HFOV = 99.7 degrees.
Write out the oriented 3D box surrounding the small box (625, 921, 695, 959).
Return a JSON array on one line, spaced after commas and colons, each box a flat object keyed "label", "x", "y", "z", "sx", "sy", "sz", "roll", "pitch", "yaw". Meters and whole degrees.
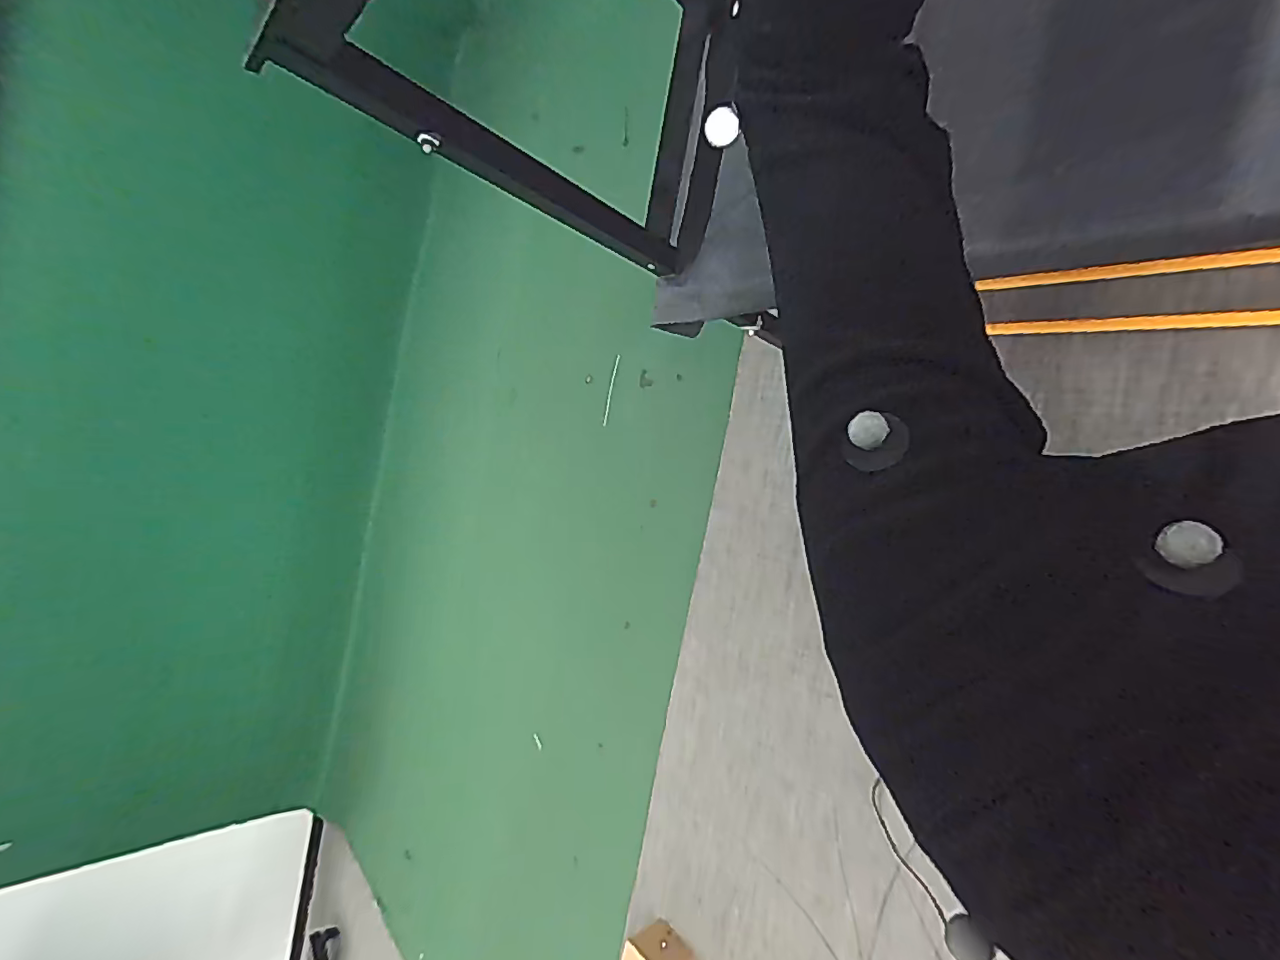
[{"label": "small box", "x": 0.060, "y": 1.590, "z": 1.745, "sx": 0.168, "sy": 0.176, "sz": 0.179, "roll": 14, "pitch": 93, "yaw": 46}]
